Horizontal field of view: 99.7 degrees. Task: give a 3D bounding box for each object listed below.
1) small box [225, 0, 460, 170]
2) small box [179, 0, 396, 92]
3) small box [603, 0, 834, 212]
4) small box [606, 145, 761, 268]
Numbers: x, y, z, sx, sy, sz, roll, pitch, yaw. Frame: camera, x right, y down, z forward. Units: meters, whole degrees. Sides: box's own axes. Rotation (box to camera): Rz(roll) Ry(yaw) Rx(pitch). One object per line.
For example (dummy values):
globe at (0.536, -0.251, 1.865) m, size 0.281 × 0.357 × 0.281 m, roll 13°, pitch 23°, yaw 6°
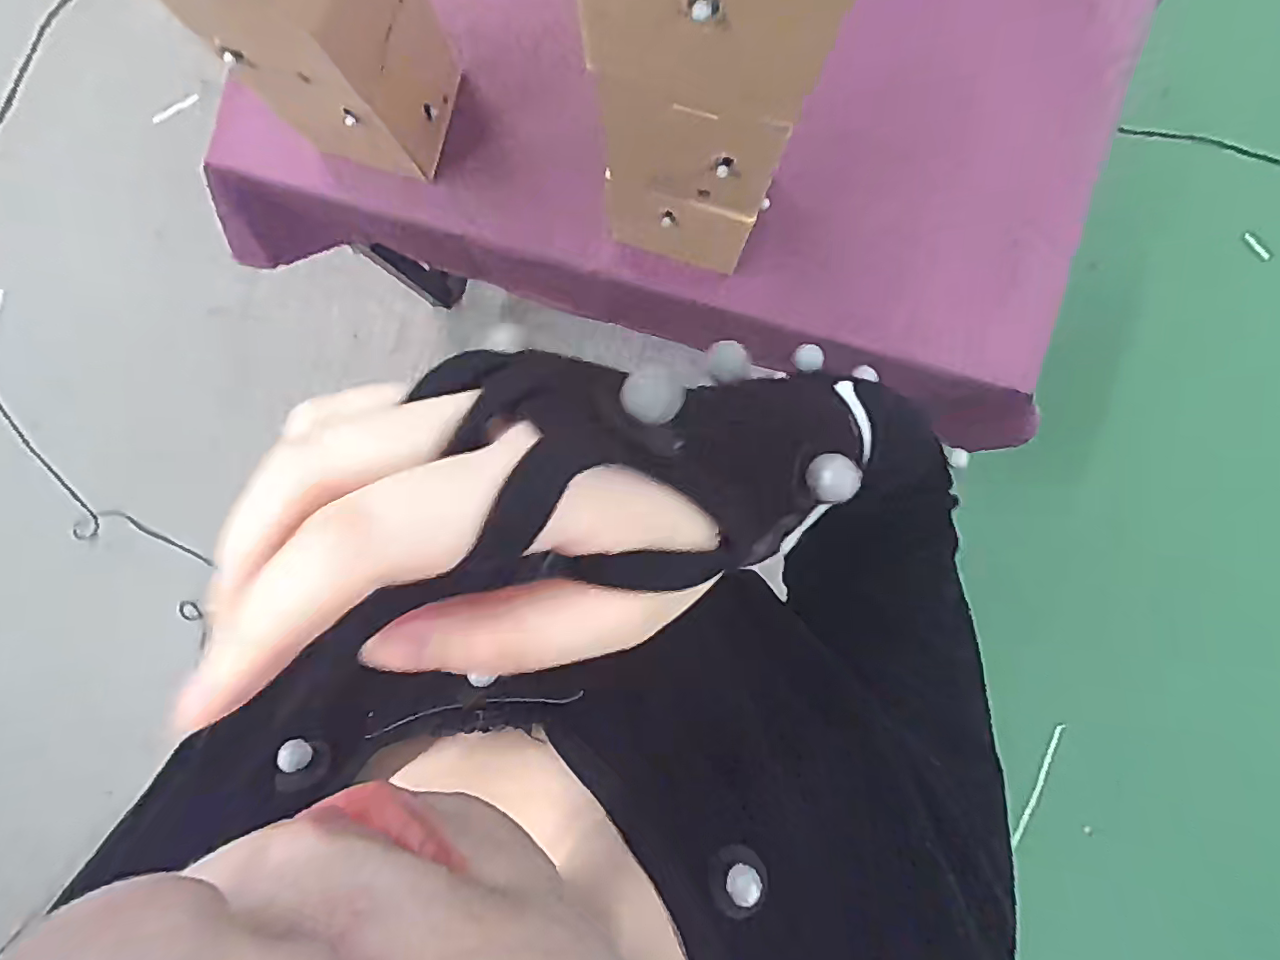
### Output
small box at (-0.350, -0.522, 0.670) m, size 0.179 × 0.176 × 0.168 m, roll 17°, pitch 92°, yaw -2°
small box at (-0.347, -0.518, 0.506) m, size 0.168 × 0.176 × 0.179 m, roll 16°, pitch 90°, yaw -2°
small box at (0.072, -0.389, 0.511) m, size 0.168 × 0.176 × 0.179 m, roll 16°, pitch 91°, yaw -1°
small box at (0.070, -0.389, 0.674) m, size 0.179 × 0.176 × 0.168 m, roll 18°, pitch 93°, yaw -1°
